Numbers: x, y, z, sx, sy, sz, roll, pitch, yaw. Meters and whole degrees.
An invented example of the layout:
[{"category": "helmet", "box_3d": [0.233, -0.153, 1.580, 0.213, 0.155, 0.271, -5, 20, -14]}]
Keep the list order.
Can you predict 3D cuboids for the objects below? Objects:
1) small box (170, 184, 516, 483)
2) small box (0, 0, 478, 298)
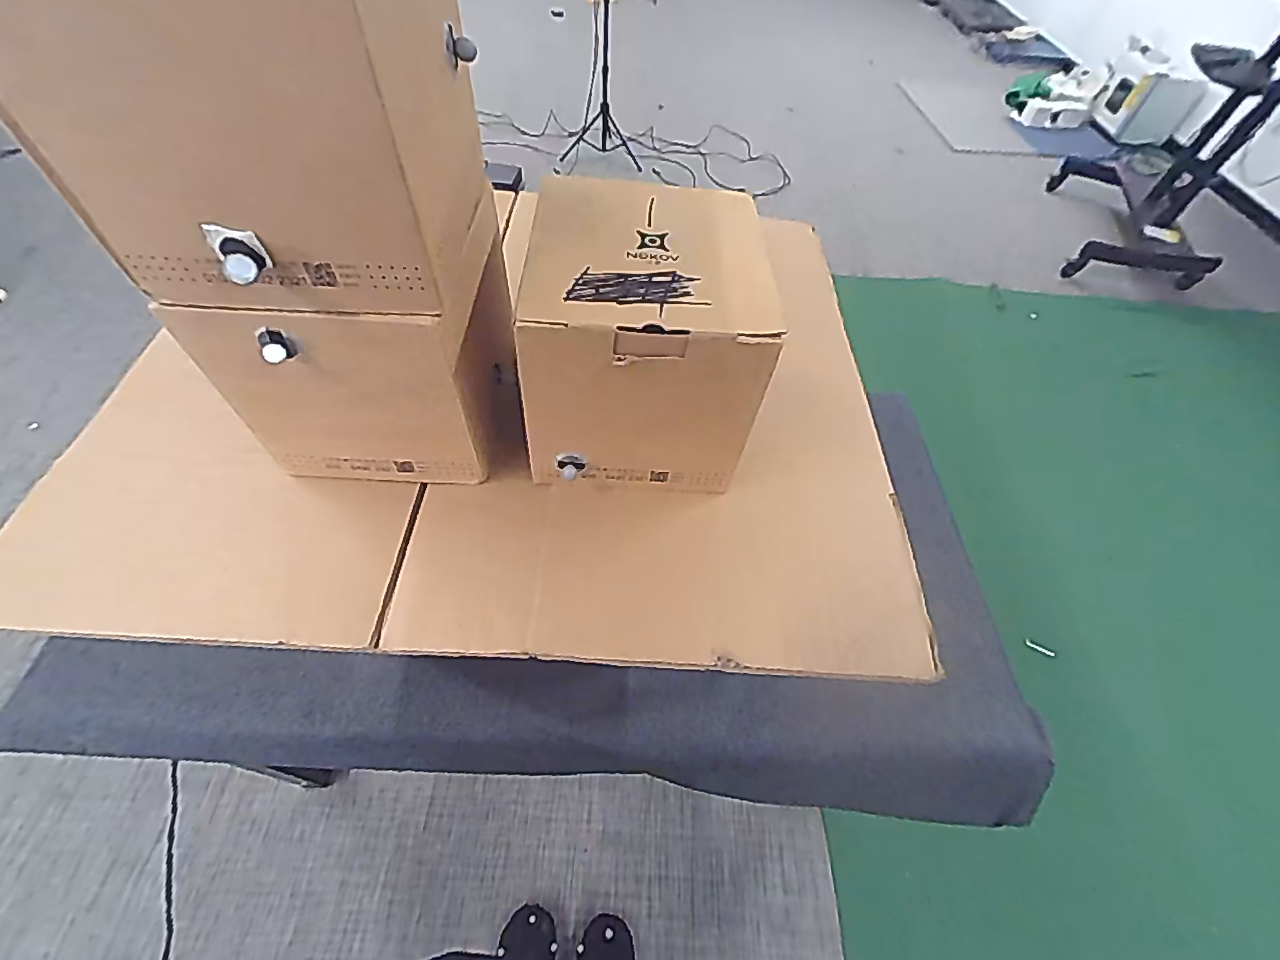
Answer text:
[{"category": "small box", "box_3d": [-0.202, -0.120, 0.437, 0.168, 0.176, 0.179, 3, 54, -1]}, {"category": "small box", "box_3d": [-0.192, -0.225, 0.294, 0.168, 0.176, 0.179, 0, 56, -4]}]
